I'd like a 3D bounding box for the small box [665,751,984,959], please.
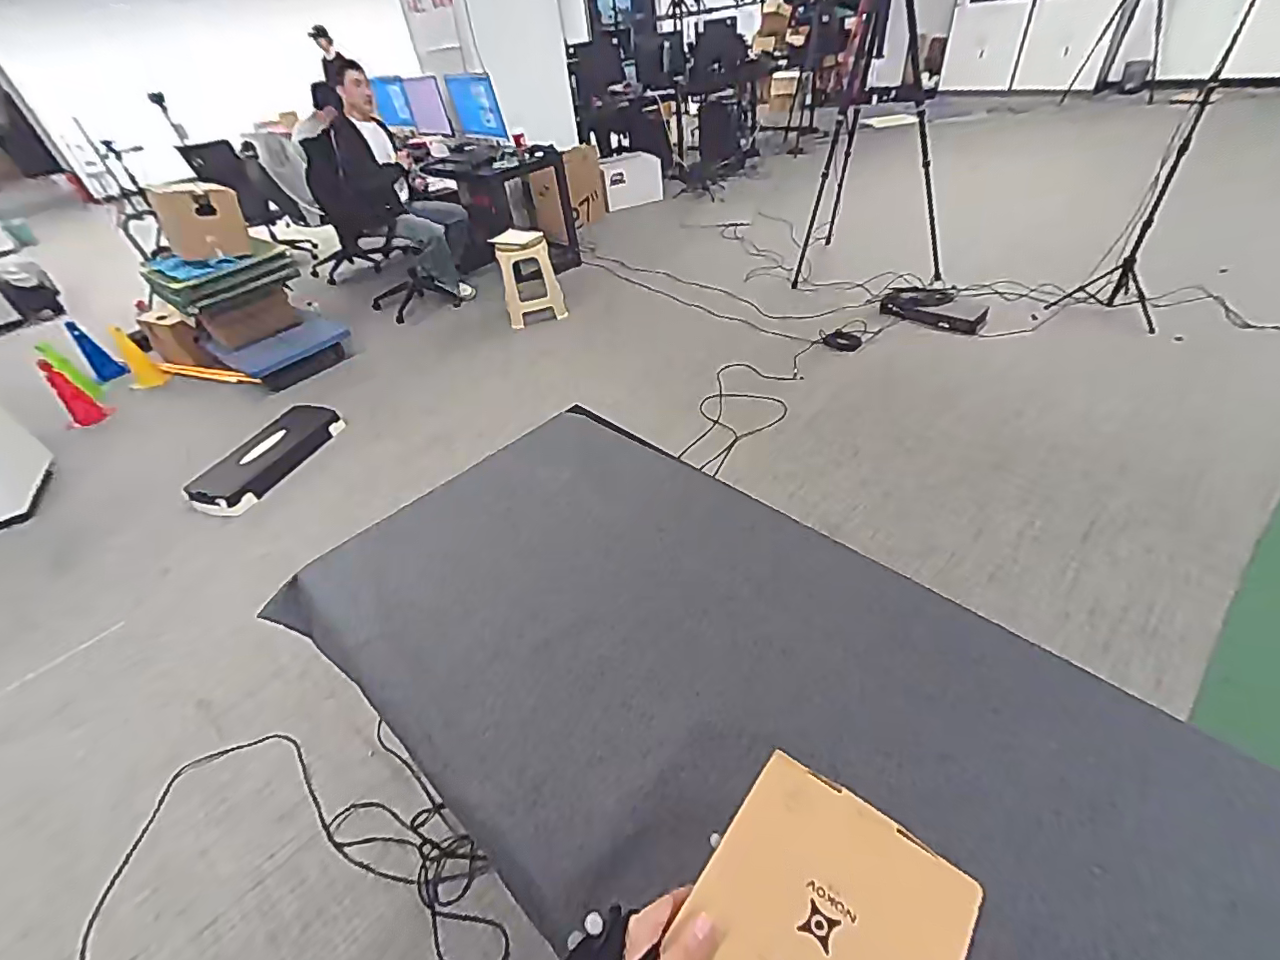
[{"bbox_3d":[0.139,0.368,0.431,0.168,0.176,0.179,23,50,32],"label":"small box"}]
